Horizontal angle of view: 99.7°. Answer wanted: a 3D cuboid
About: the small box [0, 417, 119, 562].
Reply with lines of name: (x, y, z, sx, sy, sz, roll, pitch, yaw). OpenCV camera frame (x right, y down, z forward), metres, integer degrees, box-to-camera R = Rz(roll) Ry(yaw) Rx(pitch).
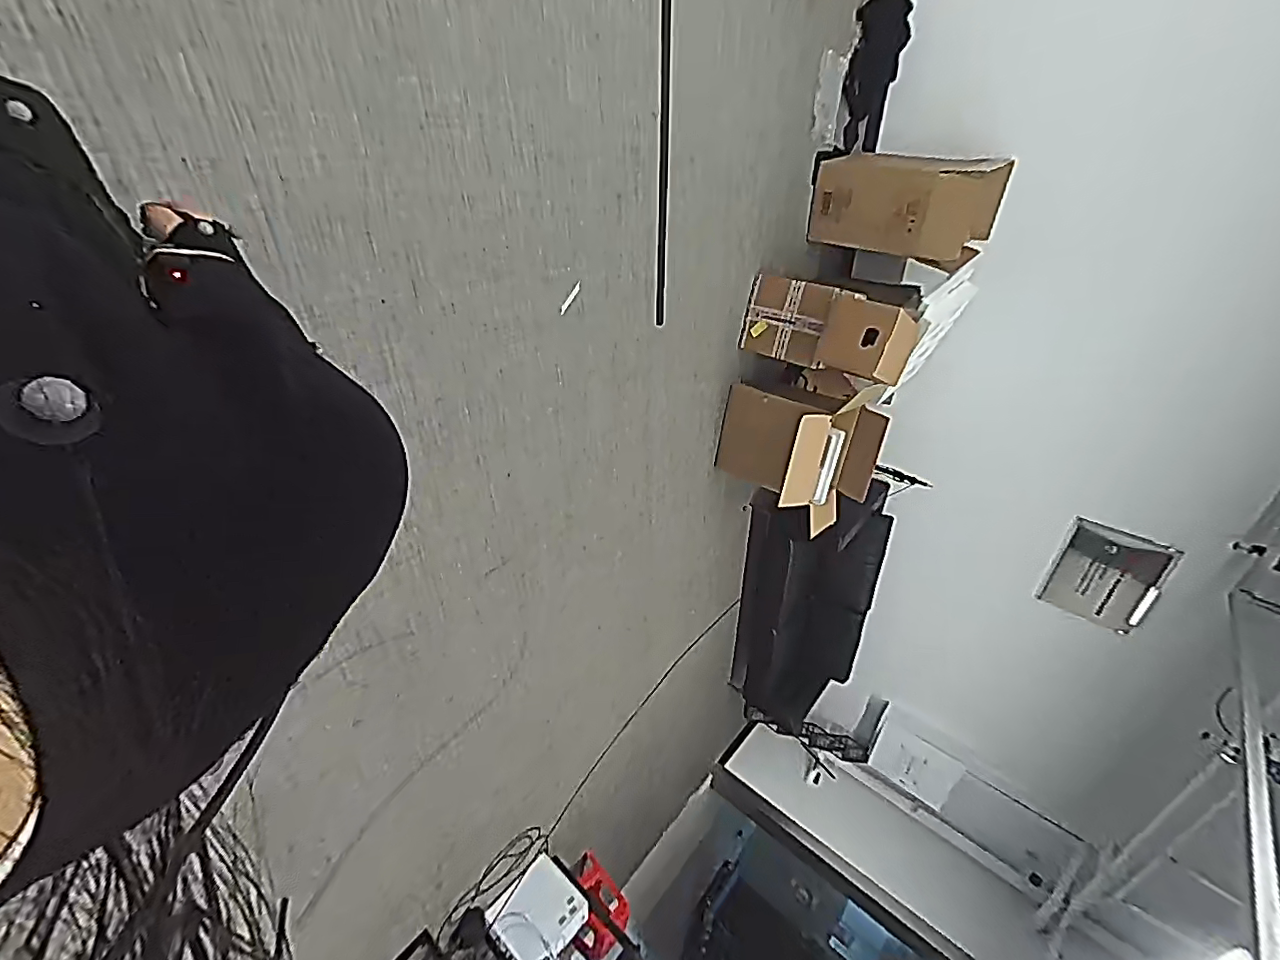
small box: (-1.121, 0.011, 0.987, 0.168, 0.176, 0.179, -40, 139, -33)
